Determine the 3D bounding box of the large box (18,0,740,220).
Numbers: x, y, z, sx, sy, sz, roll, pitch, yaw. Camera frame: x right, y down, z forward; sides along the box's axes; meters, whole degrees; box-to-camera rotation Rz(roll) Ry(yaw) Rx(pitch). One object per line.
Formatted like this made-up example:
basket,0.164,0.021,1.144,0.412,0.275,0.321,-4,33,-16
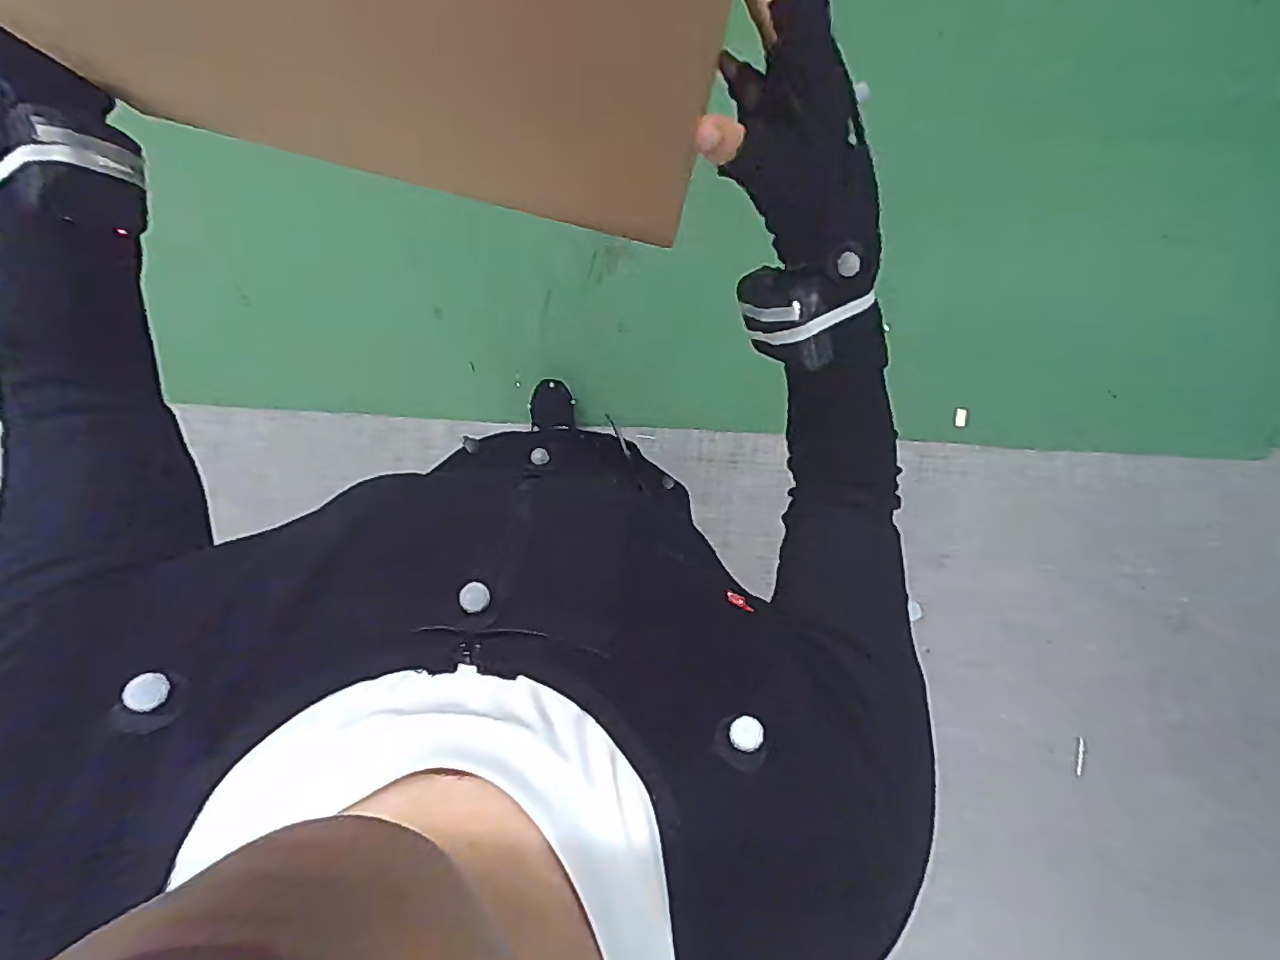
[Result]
large box,-0.128,-0.366,0.236,0.408,0.320,0.320,14,96,-2
